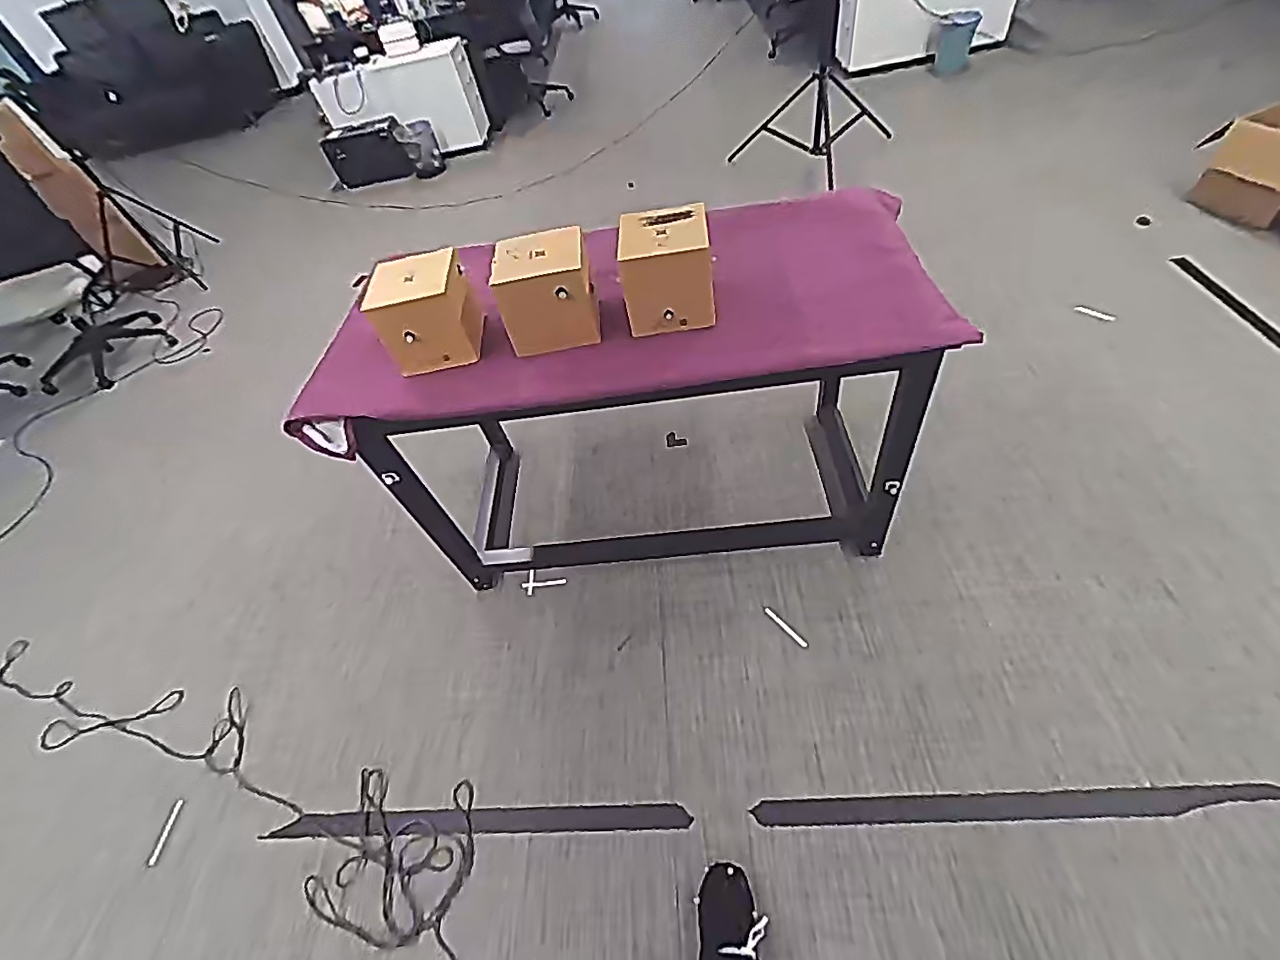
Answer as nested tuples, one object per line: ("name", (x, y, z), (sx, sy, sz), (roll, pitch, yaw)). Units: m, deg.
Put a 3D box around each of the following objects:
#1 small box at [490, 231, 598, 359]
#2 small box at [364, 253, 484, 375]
("small box", (-0.182, -0.369, 1.088), (0.179, 0.176, 0.168), (-9, 49, 4))
("small box", (-0.434, -0.335, 1.119), (0.168, 0.176, 0.179), (-12, 49, 2))
